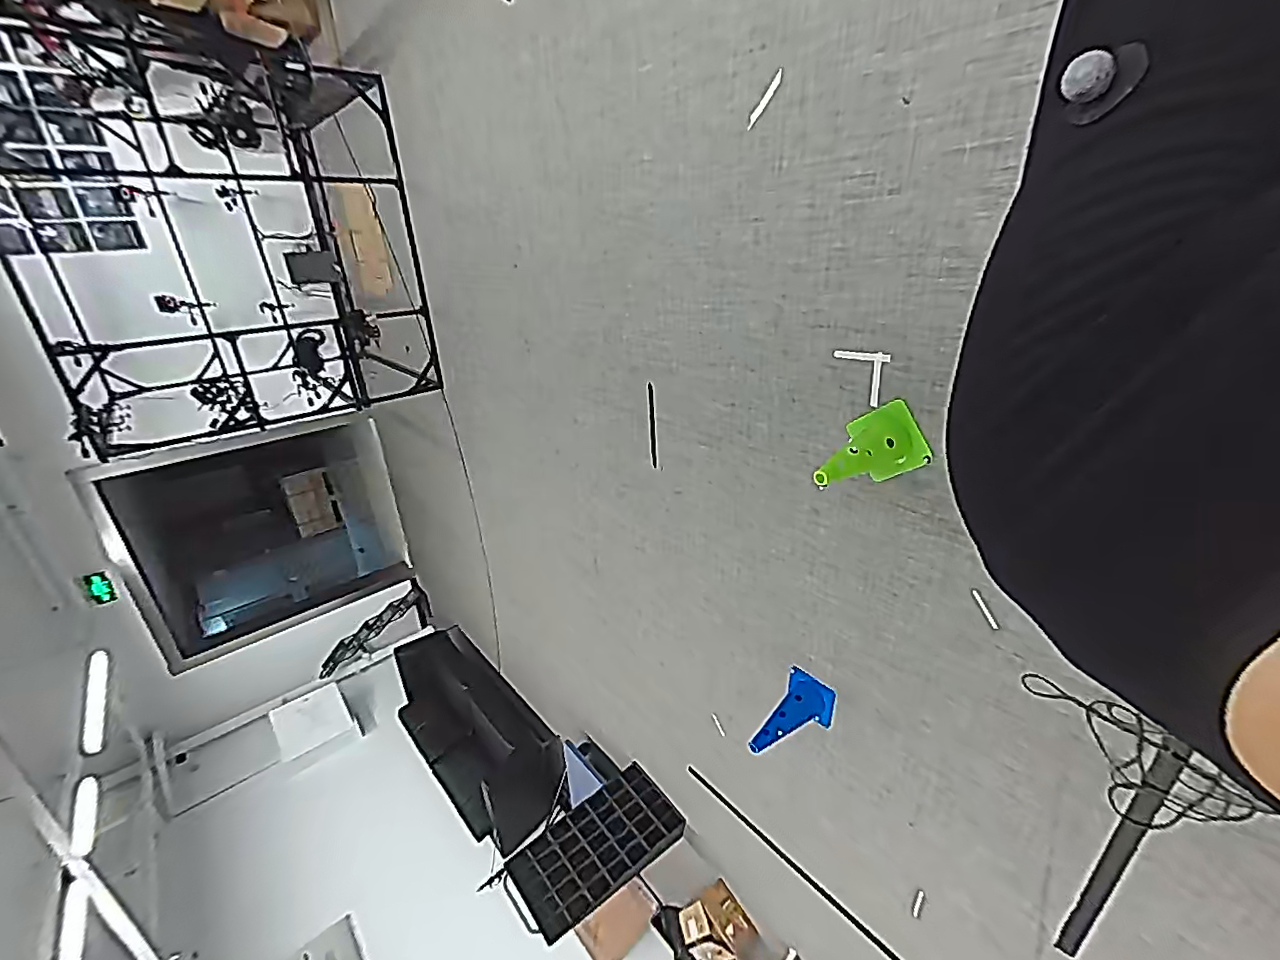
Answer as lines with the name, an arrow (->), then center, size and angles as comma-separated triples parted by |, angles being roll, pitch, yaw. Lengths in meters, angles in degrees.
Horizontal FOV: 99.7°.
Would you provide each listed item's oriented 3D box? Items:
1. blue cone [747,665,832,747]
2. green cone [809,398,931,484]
blue cone -> 0.551, 0.903, 2.063 | 0.192, 0.380, 0.193 | 28, 129, 43
green cone -> 0.588, -0.066, 1.479 | 0.202, 0.368, 0.200 | -34, 79, 56
